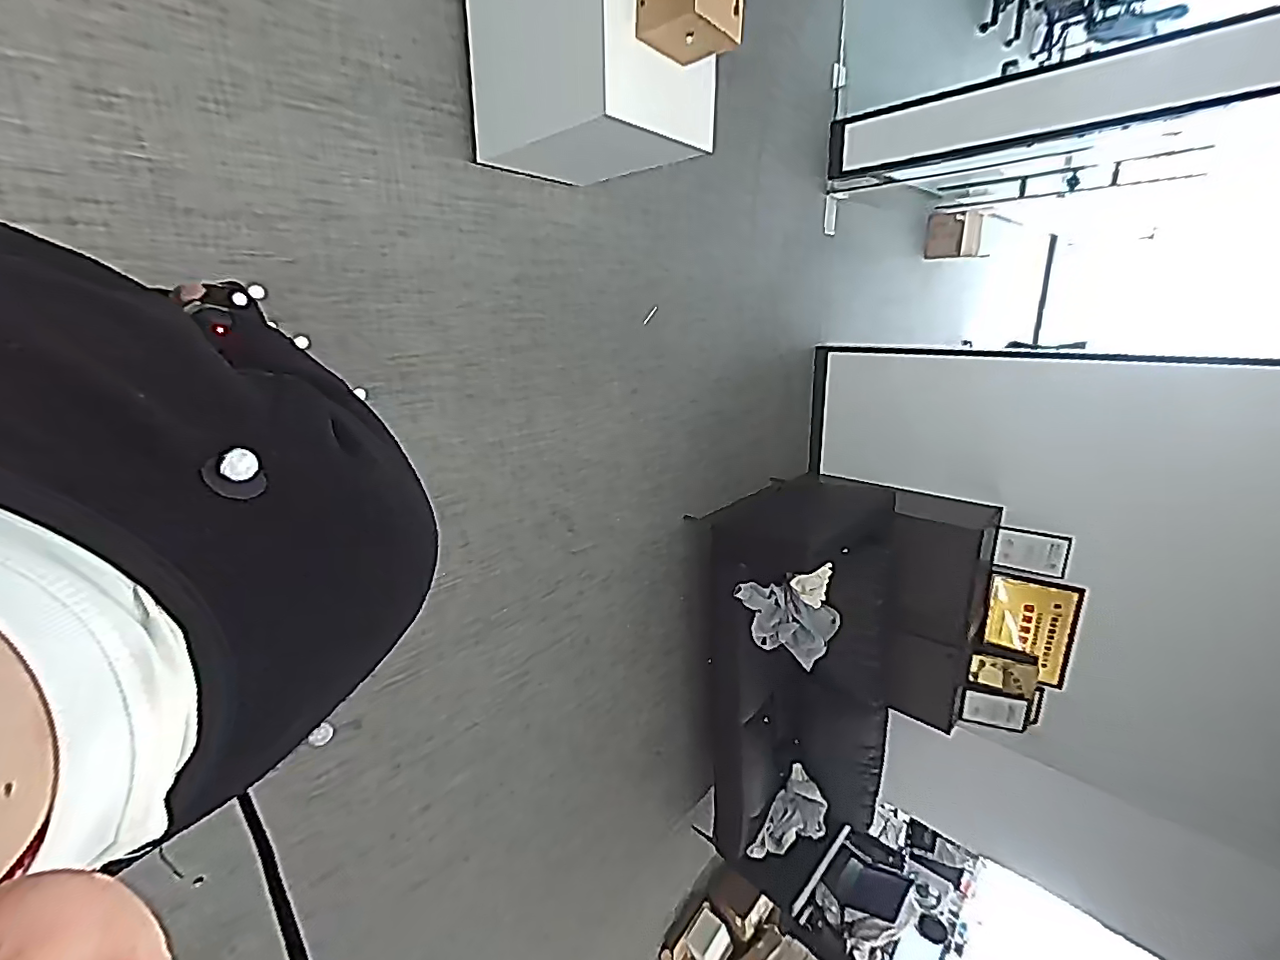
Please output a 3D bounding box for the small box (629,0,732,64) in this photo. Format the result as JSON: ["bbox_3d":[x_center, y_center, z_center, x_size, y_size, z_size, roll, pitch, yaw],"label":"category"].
[{"bbox_3d":[0.089,-1.073,1.210,0.179,0.176,0.168,-17,113,-45],"label":"small box"}]
